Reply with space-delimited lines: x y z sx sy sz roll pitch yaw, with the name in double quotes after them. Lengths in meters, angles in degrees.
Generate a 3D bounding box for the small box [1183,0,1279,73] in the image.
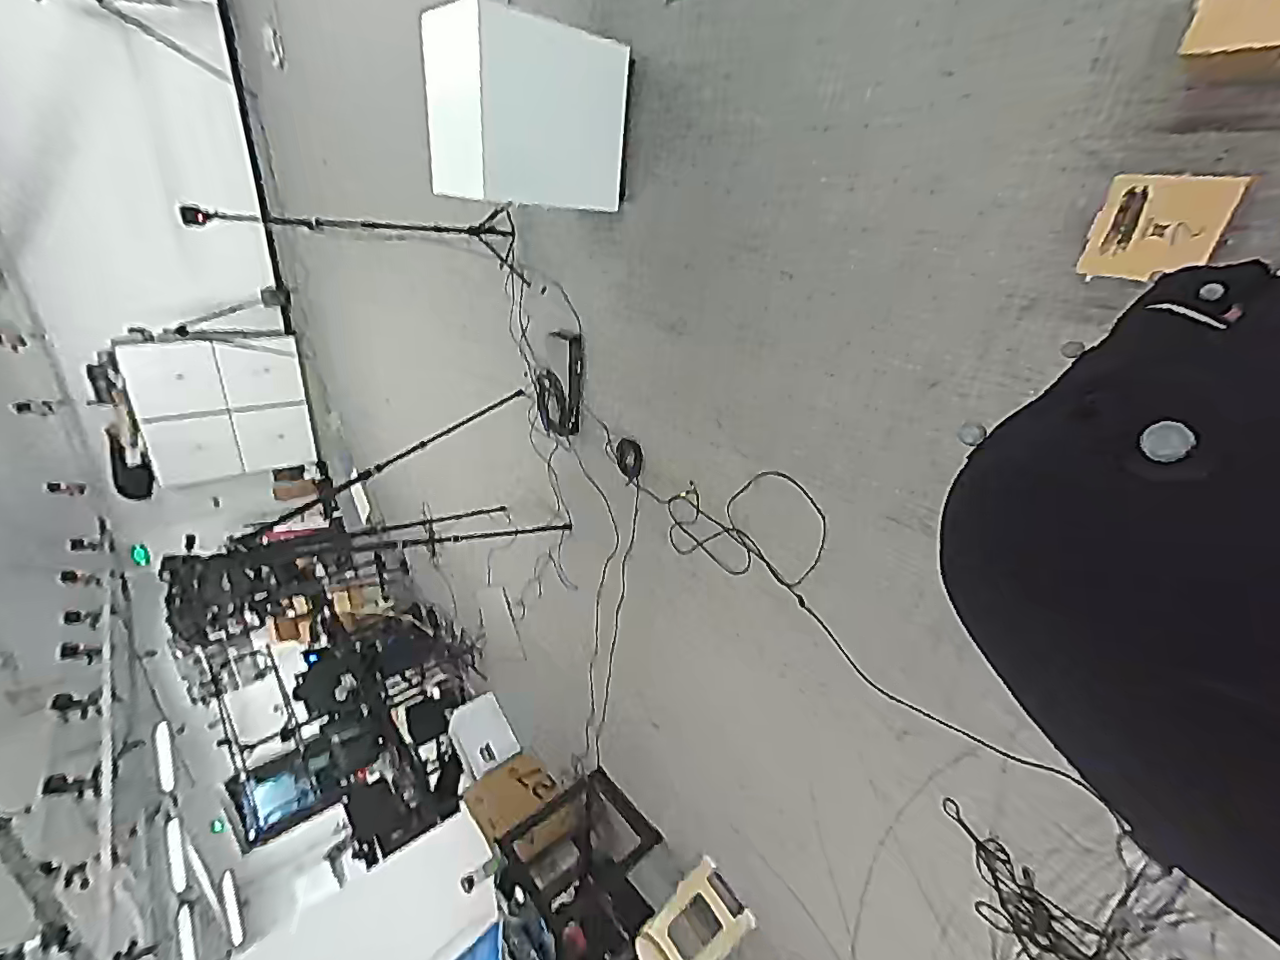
0.989 -0.745 0.821 0.179 0.176 0.168 29 124 41 "small box"
